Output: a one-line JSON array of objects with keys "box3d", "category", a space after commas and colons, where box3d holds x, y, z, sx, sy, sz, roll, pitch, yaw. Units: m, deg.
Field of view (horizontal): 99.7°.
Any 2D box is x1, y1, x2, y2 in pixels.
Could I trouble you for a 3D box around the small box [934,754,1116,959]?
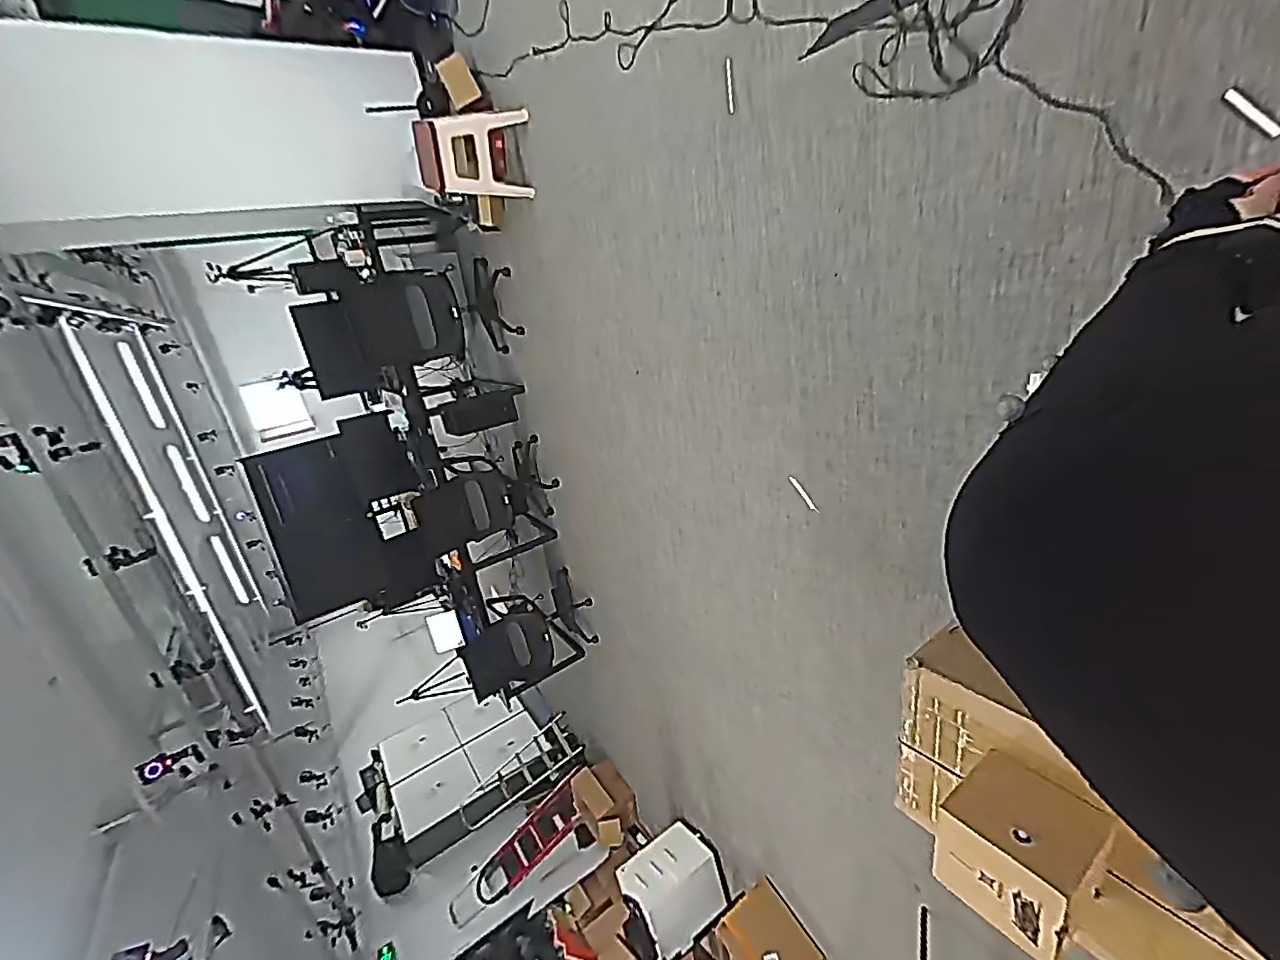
[{"box3d": [0.592, 0.571, 0.839, 0.179, 0.176, 0.168, 23, 127, 53], "category": "small box"}]
